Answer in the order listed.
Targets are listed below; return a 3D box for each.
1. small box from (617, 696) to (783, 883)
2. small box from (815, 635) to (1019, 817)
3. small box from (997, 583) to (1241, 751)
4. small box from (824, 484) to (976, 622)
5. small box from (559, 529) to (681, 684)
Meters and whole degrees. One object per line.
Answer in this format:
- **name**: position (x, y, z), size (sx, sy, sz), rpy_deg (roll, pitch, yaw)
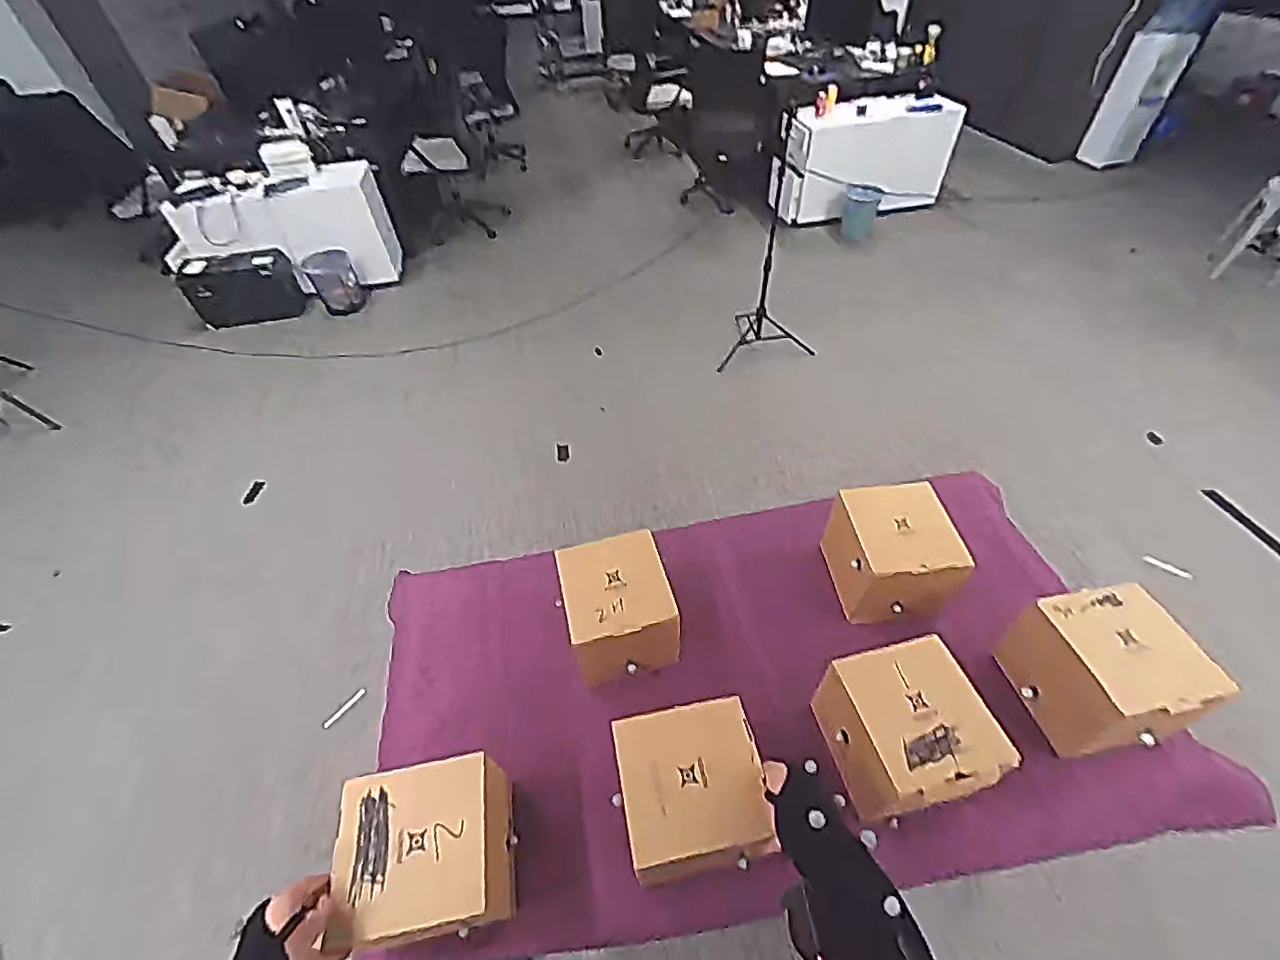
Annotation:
- **small box**: position (0.068, 0.413, 0.720), size (0.179, 0.176, 0.168), rpy_deg (-9, 47, -5)
- **small box**: position (0.368, 0.350, 0.759), size (0.168, 0.176, 0.179), rpy_deg (-11, 47, -7)
- **small box**: position (0.681, 0.281, 0.798), size (0.168, 0.176, 0.179), rpy_deg (-8, 46, -3)
- **small box**: position (0.444, 0.130, 0.960), size (0.168, 0.176, 0.179), rpy_deg (-6, 49, -1)
- **small box**: position (-0.034, 0.214, 0.912), size (0.168, 0.176, 0.179), rpy_deg (-13, 48, -8)
